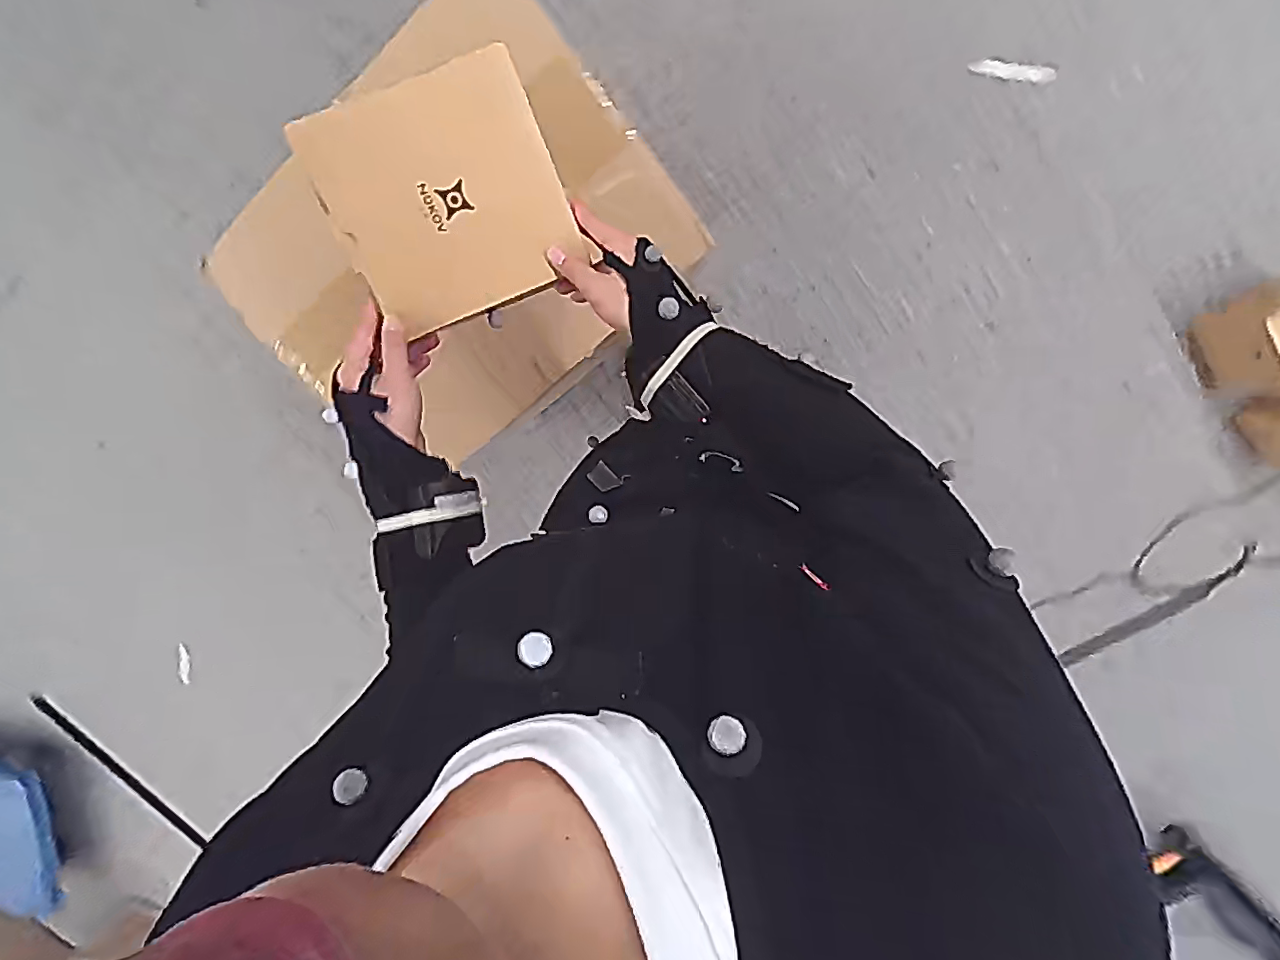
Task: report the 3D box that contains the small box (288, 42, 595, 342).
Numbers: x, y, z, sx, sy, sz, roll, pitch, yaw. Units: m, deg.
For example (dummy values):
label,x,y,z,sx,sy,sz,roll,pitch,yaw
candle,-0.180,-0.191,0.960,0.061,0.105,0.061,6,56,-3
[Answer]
label,x,y,z,sx,sy,sz,roll,pitch,yaw
small box,-0.158,-0.240,0.484,0.179,0.176,0.168,-23,113,-3

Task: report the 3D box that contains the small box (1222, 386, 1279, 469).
label,x,y,z,sx,sy,sz,roll,pitch,yaw
small box,1.452,-0.132,1.170,0.179,0.176,0.168,-37,101,14

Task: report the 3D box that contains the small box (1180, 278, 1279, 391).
label,x,y,z,sx,sy,sz,roll,pitch,yaw
small box,1.302,-0.306,1.127,0.168,0.176,0.179,-33,101,12
